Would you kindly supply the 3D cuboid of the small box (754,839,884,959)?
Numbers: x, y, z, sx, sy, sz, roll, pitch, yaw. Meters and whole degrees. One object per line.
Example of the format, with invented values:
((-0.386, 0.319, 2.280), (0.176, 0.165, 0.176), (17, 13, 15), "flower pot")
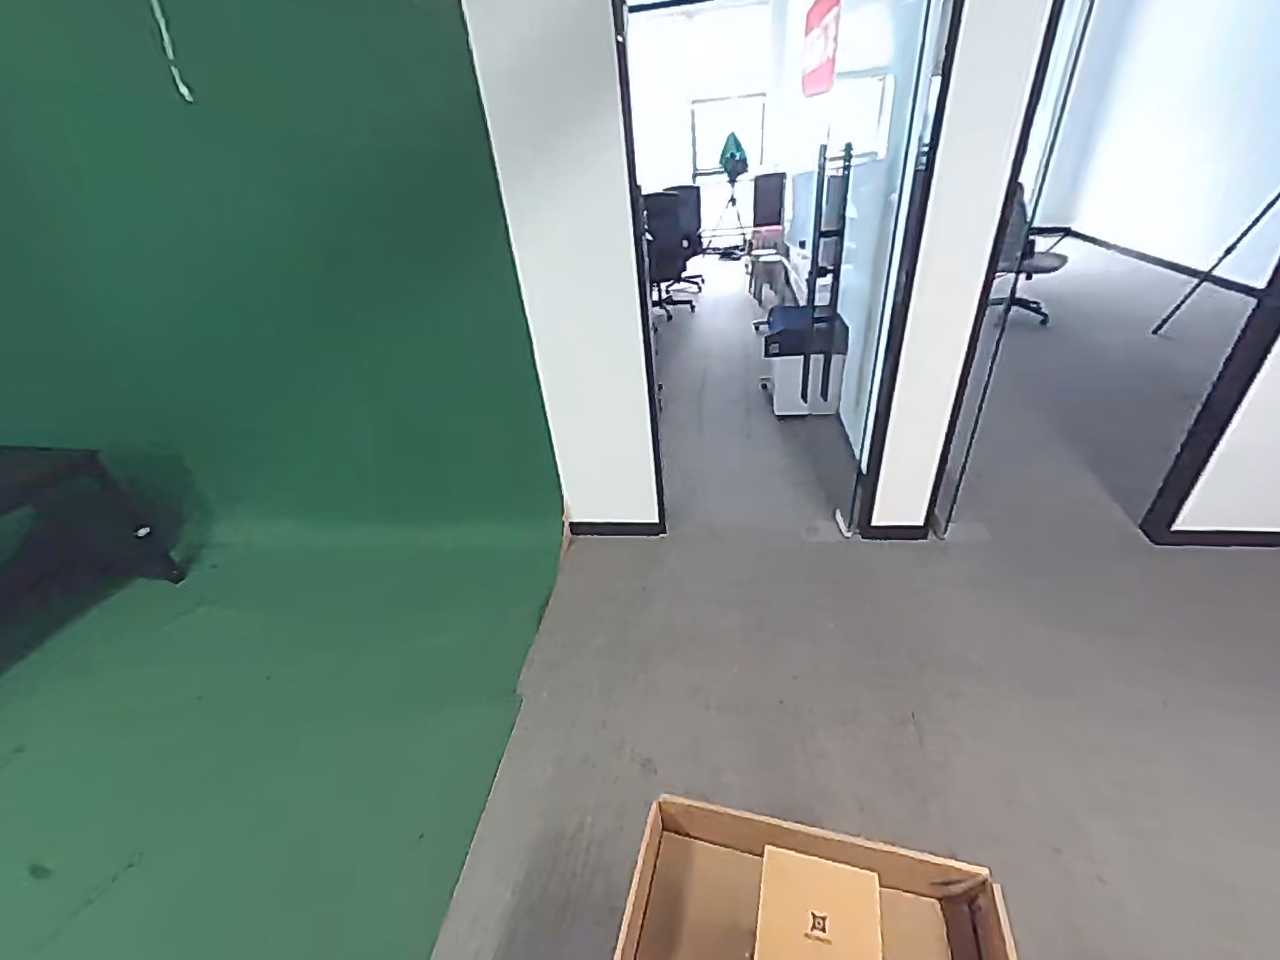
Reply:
((0.256, 0.678, 0.793), (0.168, 0.176, 0.179), (4, 35, 17), "small box")
